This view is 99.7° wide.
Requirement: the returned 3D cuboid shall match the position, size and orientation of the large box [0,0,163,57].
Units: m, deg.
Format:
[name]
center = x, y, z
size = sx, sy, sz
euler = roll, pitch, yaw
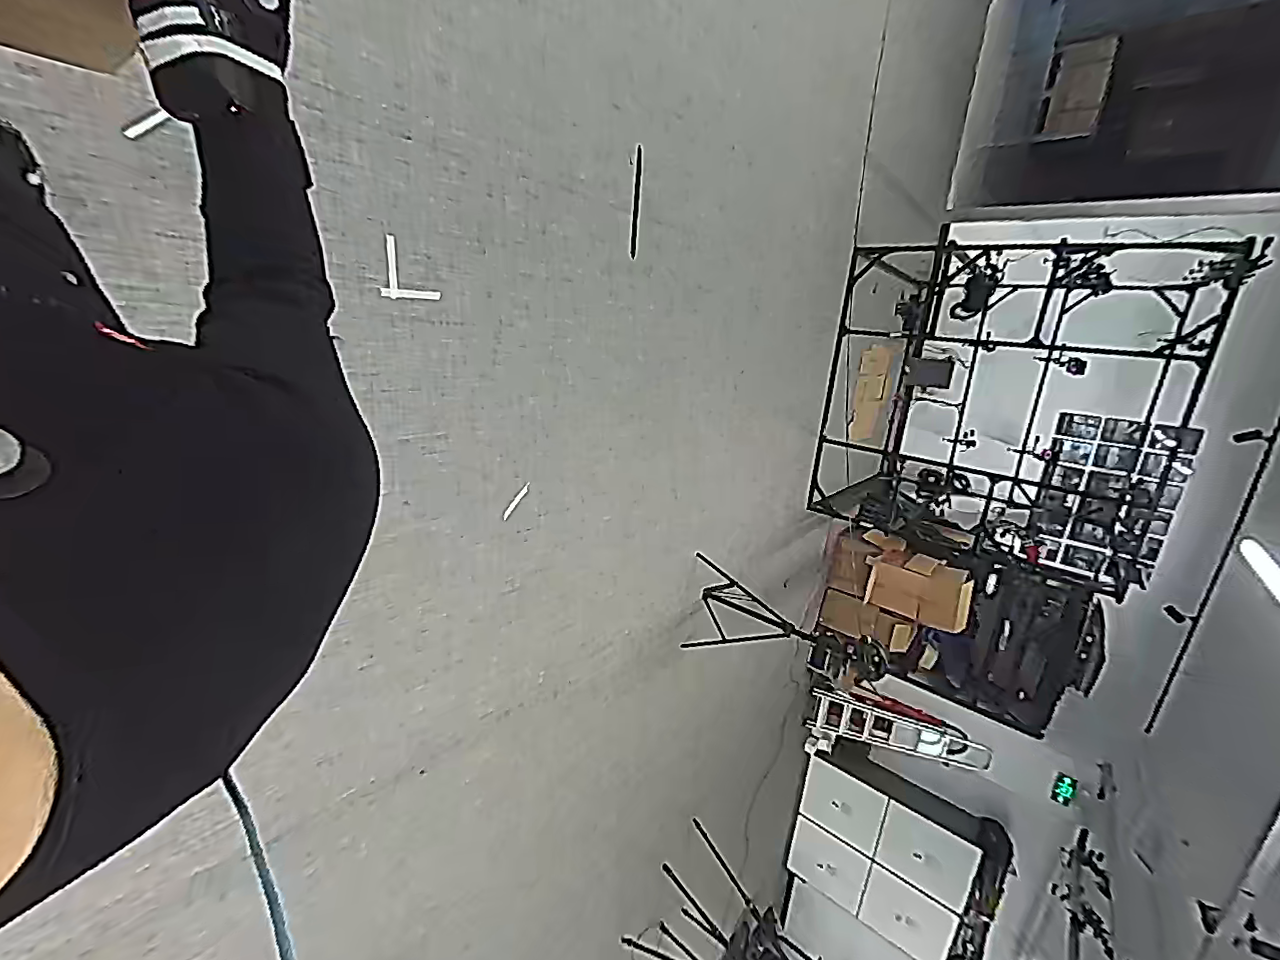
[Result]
[large box]
center = -0.535, -0.482, 0.260
size = 0.408, 0.320, 0.320
euler = -16, 120, -48
